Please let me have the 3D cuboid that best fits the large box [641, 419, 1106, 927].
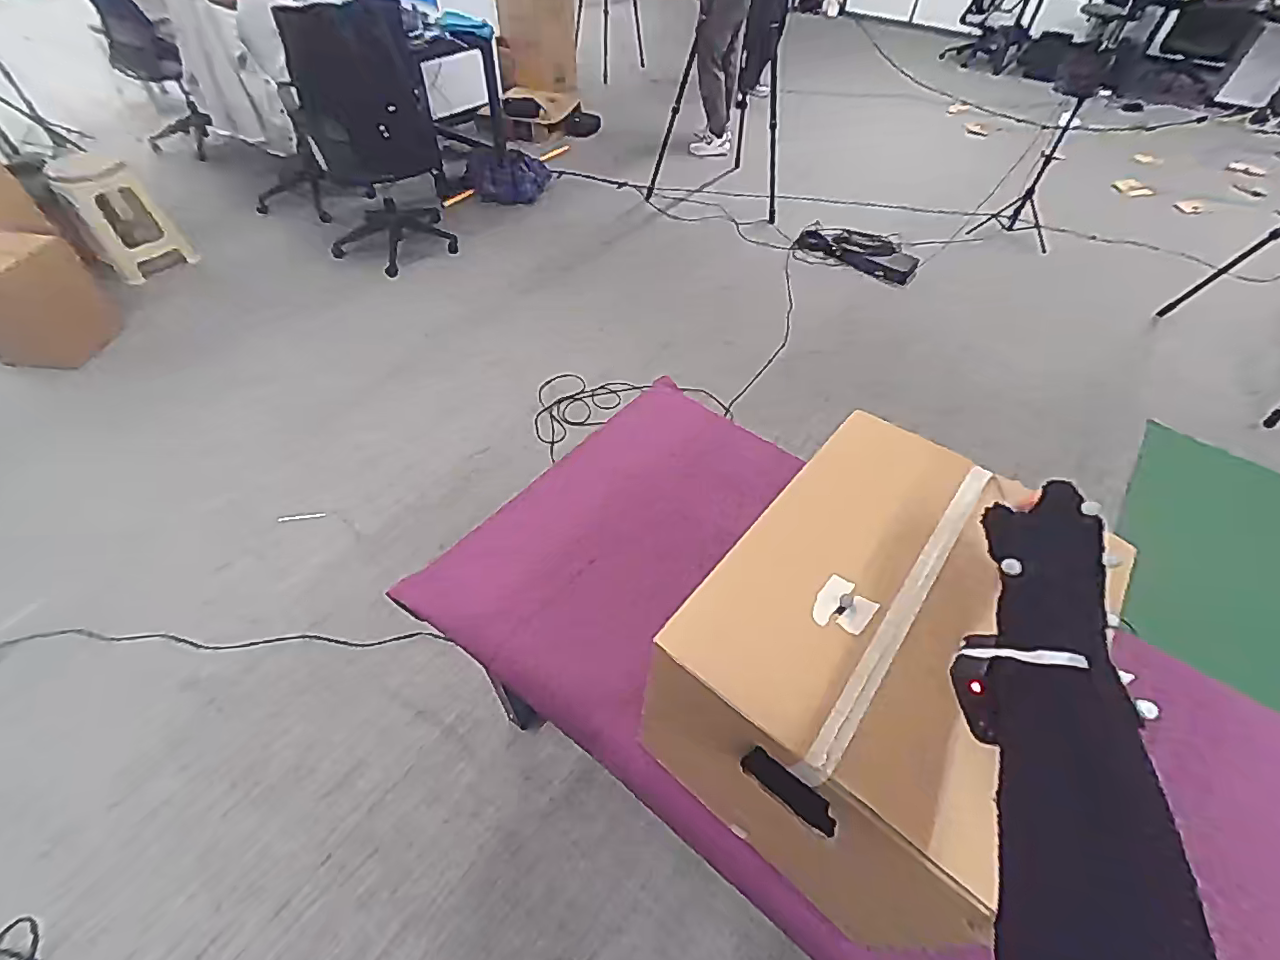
[{"bbox_3d":[0.246,0.207,0.641,0.320,0.320,0.408,34,56,23],"label":"large box"}]
